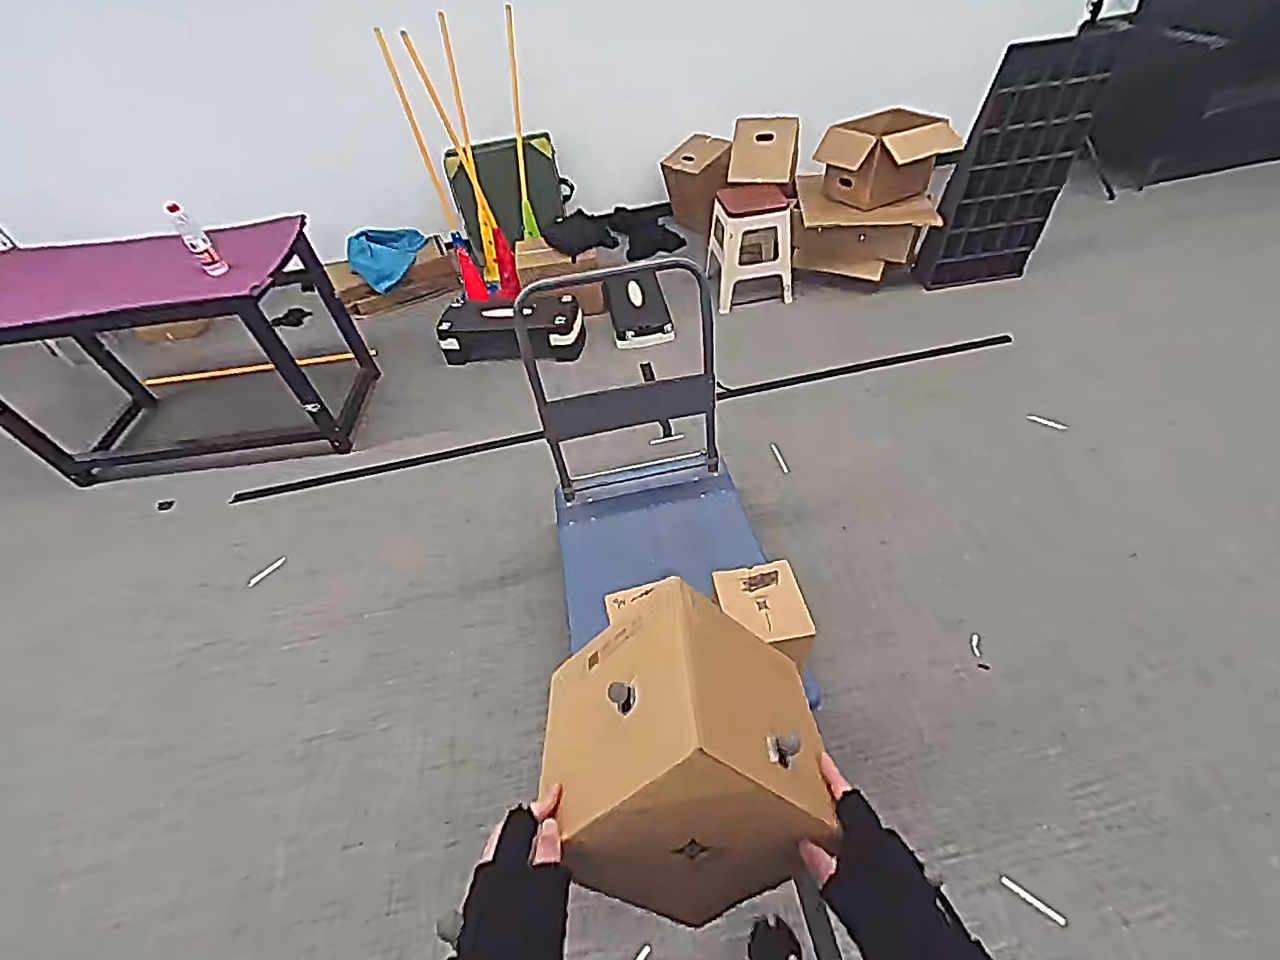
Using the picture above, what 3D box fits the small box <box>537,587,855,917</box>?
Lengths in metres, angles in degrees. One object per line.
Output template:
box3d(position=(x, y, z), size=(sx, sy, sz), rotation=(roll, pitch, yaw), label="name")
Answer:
box3d(position=(0.037, 0.218, 0.458), size=(0.168, 0.179, 0.176), rotation=(-43, 24, 19), label="small box")

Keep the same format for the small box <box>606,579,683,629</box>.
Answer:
box3d(position=(0.033, 0.340, 1.130), size=(0.168, 0.176, 0.179), rotation=(-13, 48, -6), label="small box")

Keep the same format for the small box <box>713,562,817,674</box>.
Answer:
box3d(position=(0.251, 0.301, 1.139), size=(0.168, 0.176, 0.179), rotation=(-10, 48, -3), label="small box")
